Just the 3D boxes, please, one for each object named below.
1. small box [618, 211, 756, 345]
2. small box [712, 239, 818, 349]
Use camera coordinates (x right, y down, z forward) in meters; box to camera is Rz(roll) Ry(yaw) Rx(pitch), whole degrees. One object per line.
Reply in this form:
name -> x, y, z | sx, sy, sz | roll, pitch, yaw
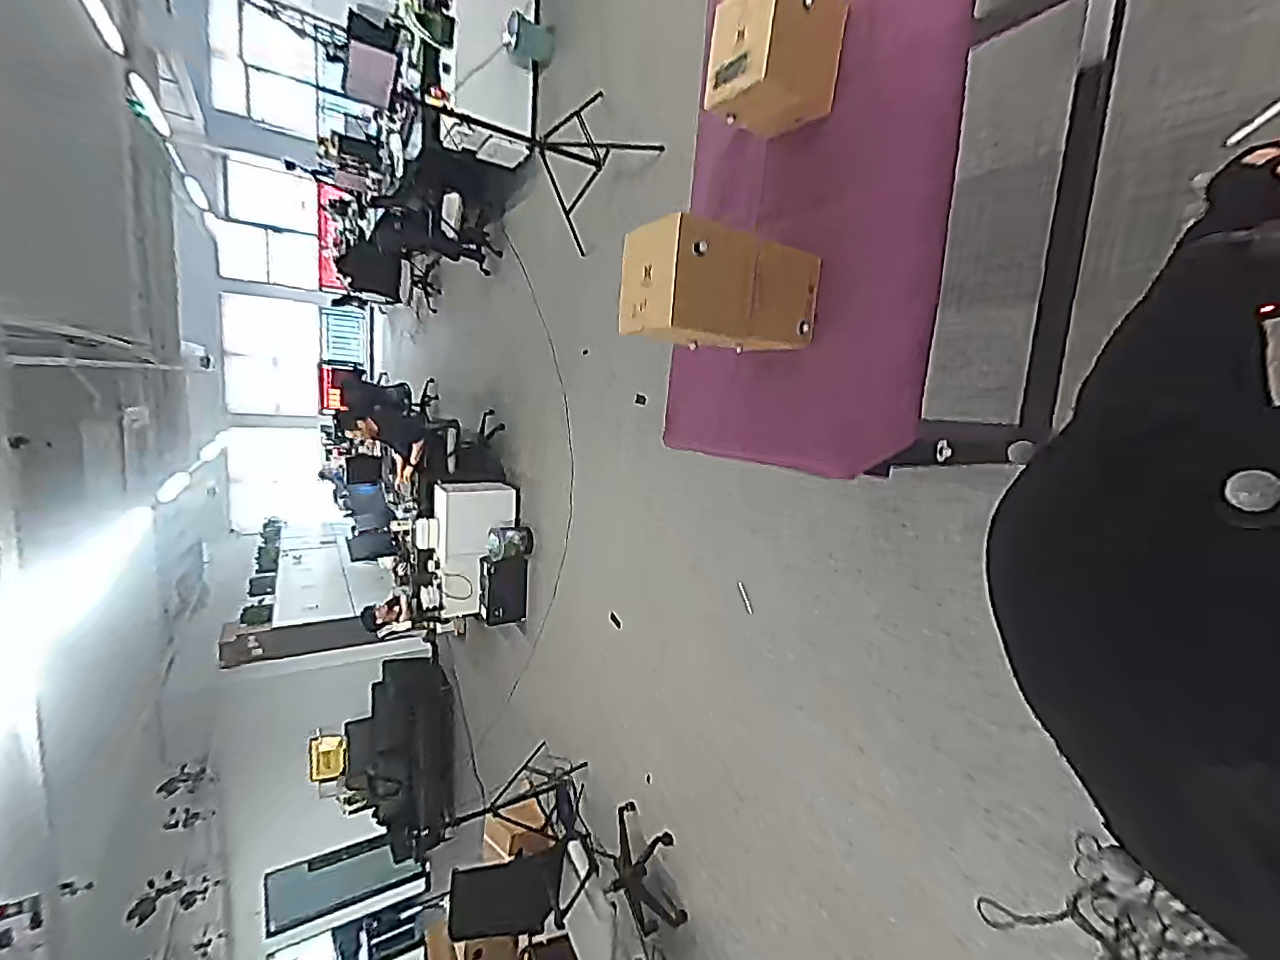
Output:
small box -> 0.081, -0.338, 0.940 | 0.168, 0.176, 0.179 | 17, 105, 56
small box -> 0.216, -0.345, 1.035 | 0.179, 0.176, 0.168 | 18, 106, 56
